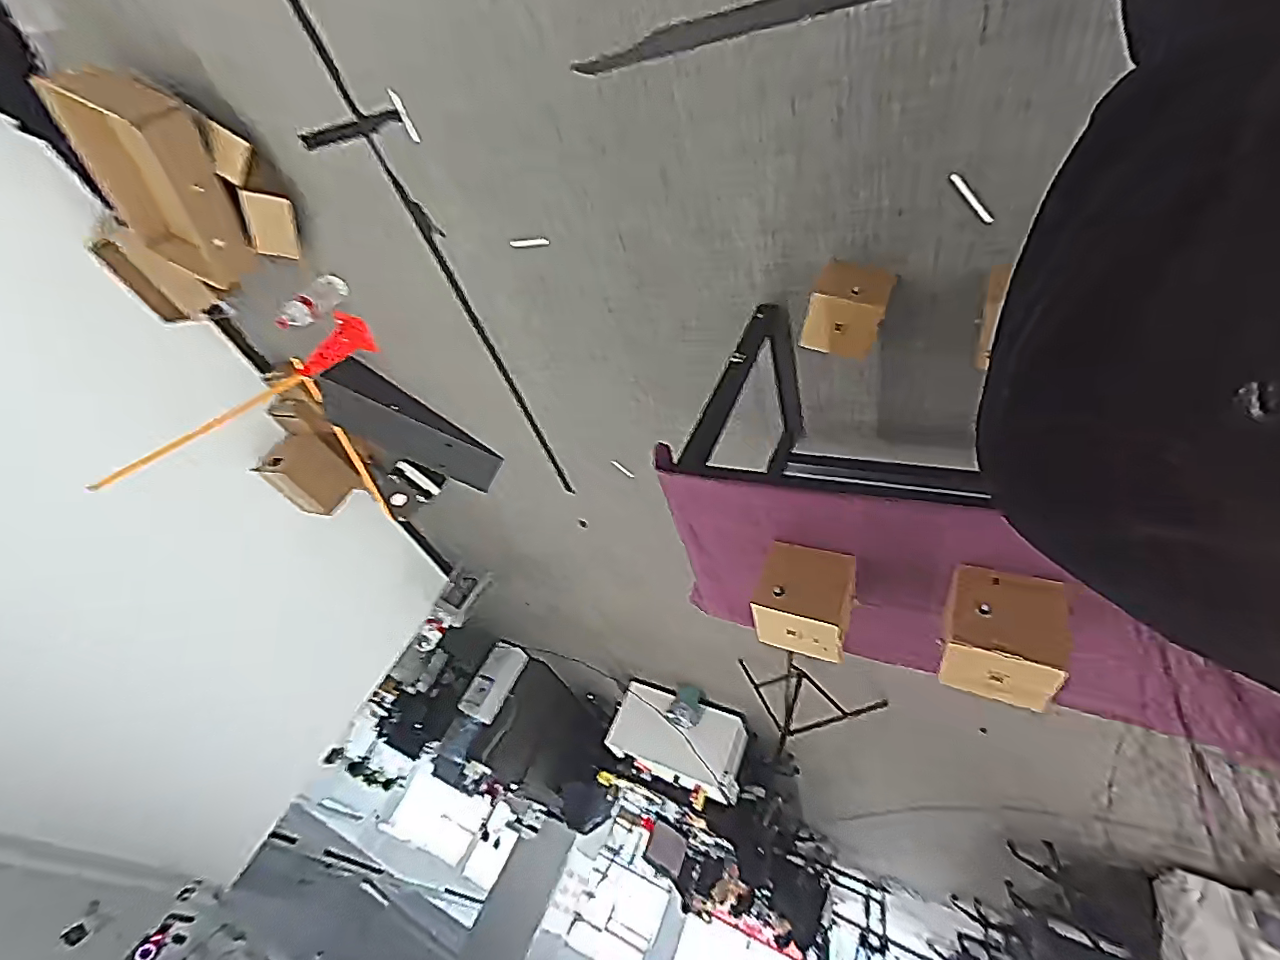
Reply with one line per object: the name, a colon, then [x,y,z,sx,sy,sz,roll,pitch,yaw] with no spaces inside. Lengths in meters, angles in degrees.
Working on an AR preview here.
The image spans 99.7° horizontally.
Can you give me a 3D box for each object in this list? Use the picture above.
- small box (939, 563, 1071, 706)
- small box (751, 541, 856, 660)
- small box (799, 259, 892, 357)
small box: [0.650,0.273,0.975,0.168,0.176,0.179,10,144,28]
small box: [0.354,0.251,1.159,0.179,0.176,0.168,9,142,27]
small box: [0.538,-0.455,1.418,0.179,0.176,0.168,18,144,14]
